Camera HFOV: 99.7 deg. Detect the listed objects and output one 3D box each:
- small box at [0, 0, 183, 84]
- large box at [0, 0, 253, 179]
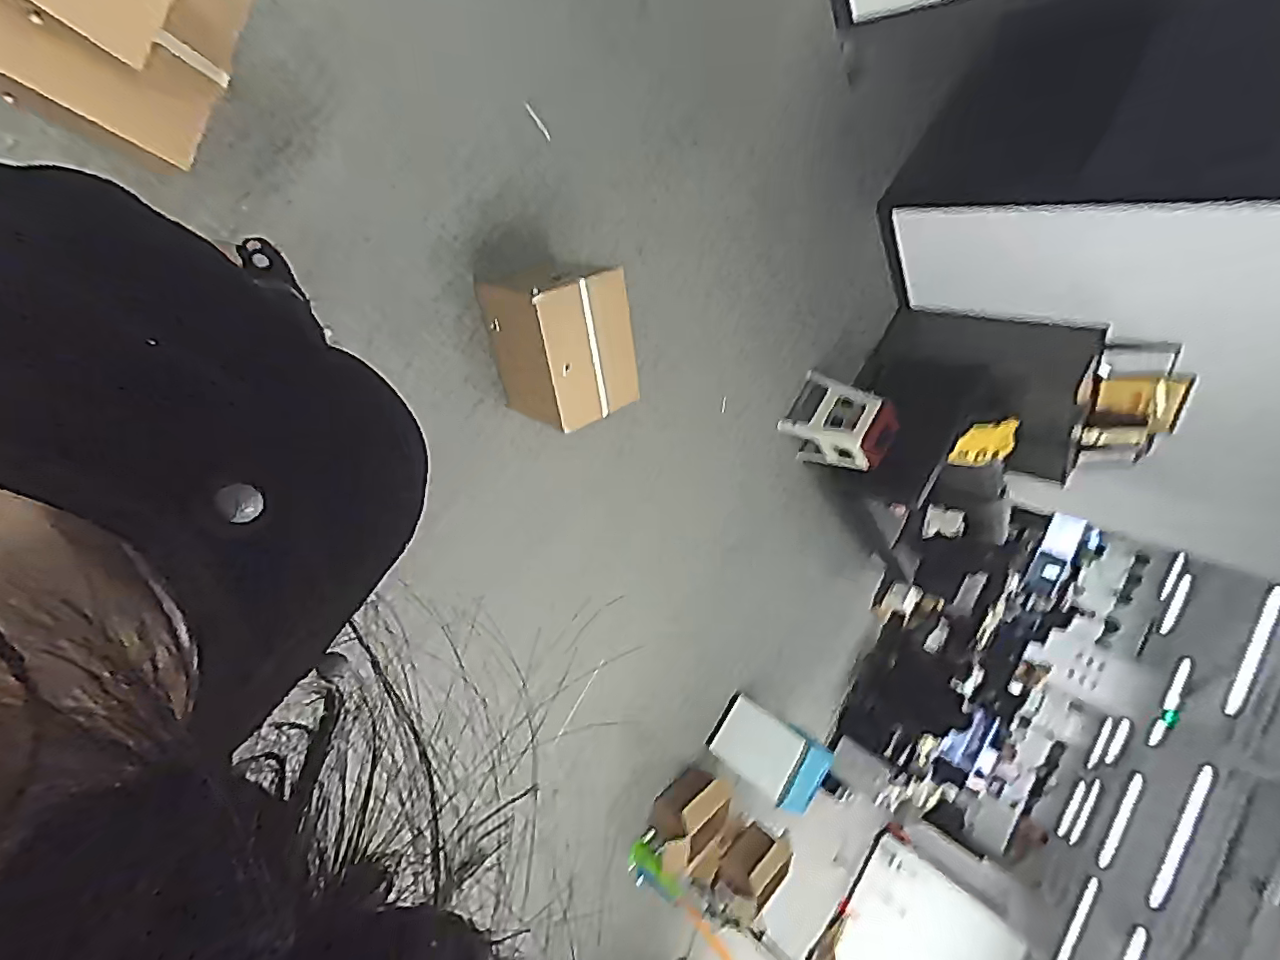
[{"bbox_3d":[-0.700,-0.638,0.673,0.179,0.176,0.168,26,91,-49],"label":"small box"},{"bbox_3d":[-0.886,-0.723,0.814,0.408,0.320,0.320,21,92,-48],"label":"large box"}]
